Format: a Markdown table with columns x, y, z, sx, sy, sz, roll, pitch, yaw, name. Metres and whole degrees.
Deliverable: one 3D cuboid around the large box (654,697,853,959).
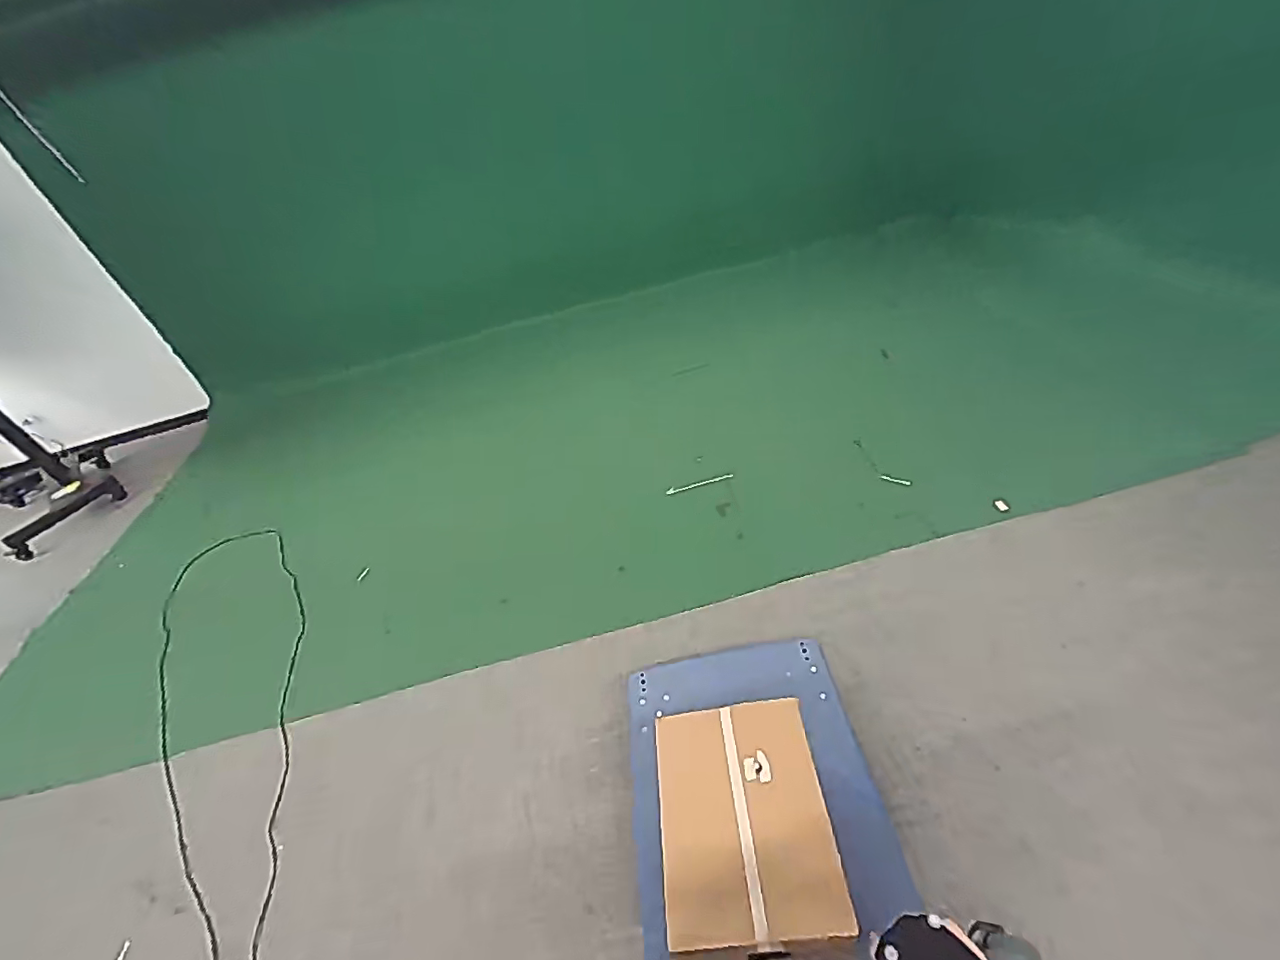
| x | y | z | sx | sy | sz | roll | pitch | yaw | name |
| --- | --- | --- | --- | --- | --- | --- | --- | --- | --- |
| 0.223 | 0.738 | 1.128 | 0.320 | 0.320 | 0.408 | -11 | 38 | 6 | large box |
